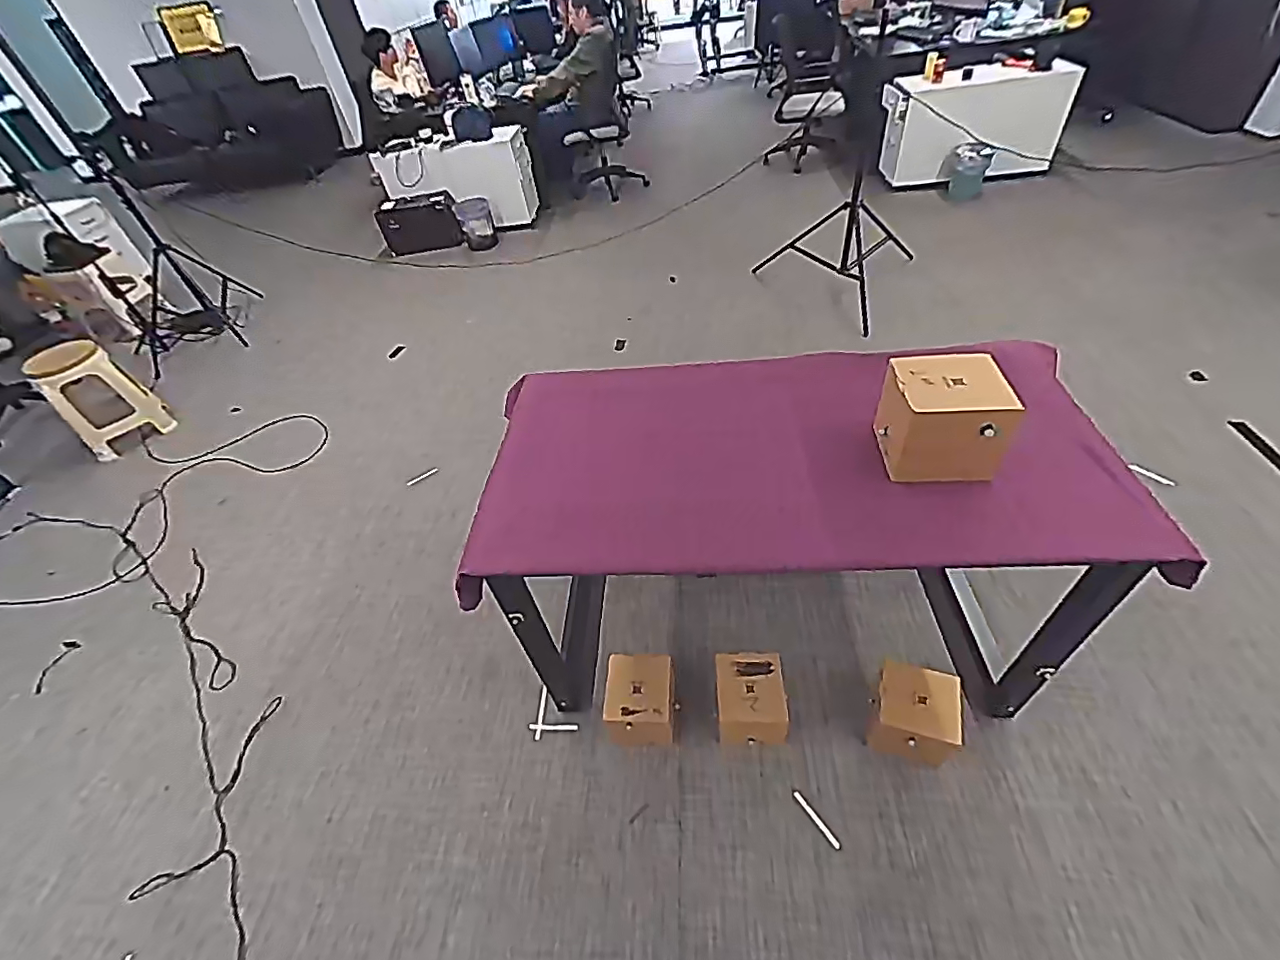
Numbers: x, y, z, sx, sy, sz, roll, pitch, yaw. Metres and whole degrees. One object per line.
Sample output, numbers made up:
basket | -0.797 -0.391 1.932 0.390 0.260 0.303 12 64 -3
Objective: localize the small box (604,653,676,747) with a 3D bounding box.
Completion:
small box | 0.006 0.582 1.433 0.168 0.176 0.179 -1 44 8

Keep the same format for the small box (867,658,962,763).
small box | 0.673 0.572 1.332 0.179 0.176 0.168 9 49 20

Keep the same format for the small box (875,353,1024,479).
small box | 0.553 -0.115 0.995 0.179 0.176 0.168 -1 45 9
